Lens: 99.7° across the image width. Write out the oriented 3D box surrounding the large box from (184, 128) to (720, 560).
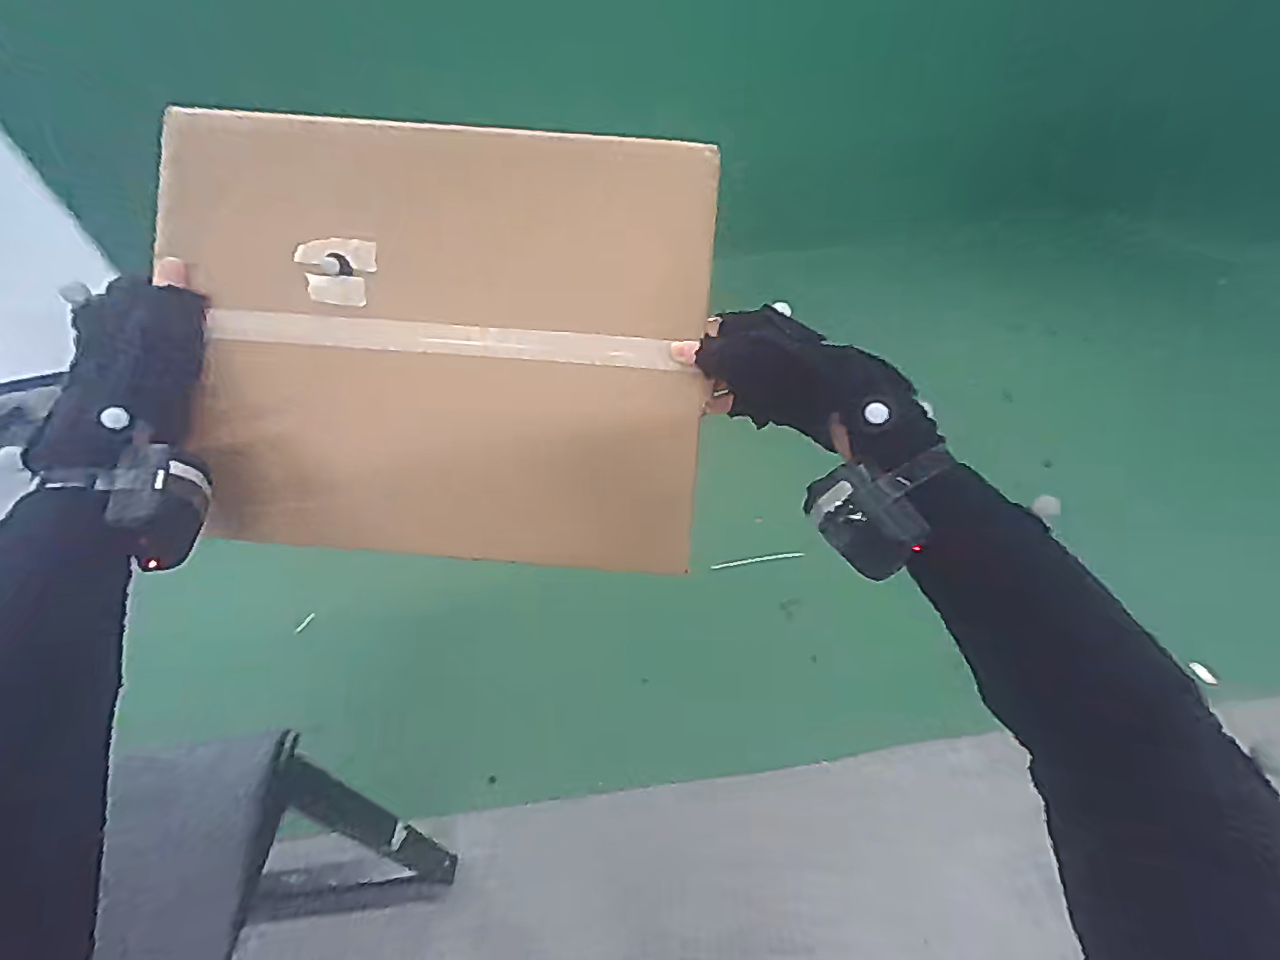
[{"bbox_3d":[-0.141,-0.108,0.560,0.408,0.320,0.320,5,0,2],"label":"large box"}]
